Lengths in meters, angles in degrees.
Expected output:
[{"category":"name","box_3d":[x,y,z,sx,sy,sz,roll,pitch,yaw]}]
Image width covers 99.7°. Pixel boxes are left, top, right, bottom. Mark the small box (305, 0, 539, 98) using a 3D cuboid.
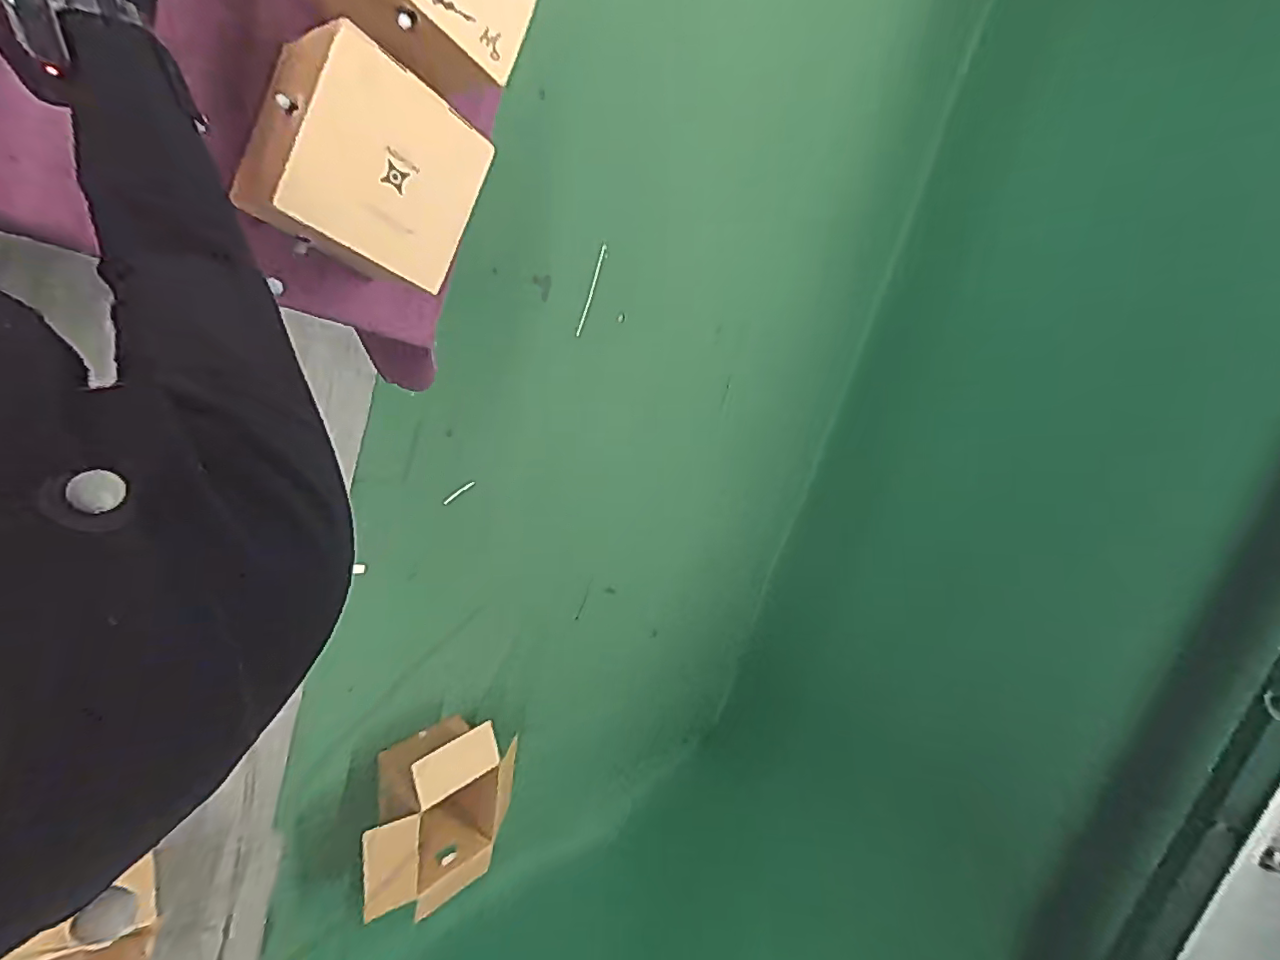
[{"category":"small box","box_3d":[-0.216,-0.533,0.551,0.168,0.176,0.179,17,97,-53]}]
